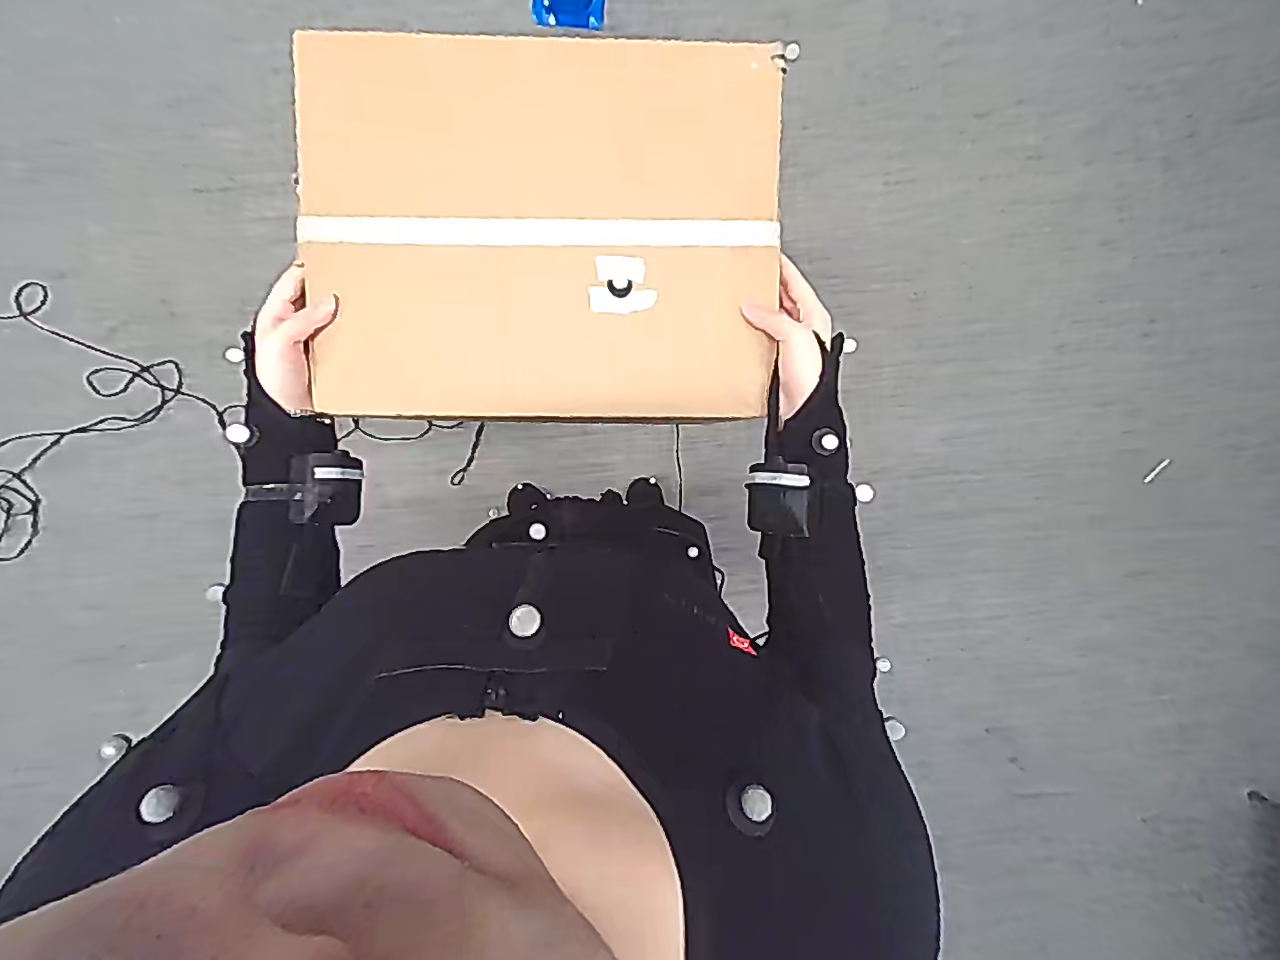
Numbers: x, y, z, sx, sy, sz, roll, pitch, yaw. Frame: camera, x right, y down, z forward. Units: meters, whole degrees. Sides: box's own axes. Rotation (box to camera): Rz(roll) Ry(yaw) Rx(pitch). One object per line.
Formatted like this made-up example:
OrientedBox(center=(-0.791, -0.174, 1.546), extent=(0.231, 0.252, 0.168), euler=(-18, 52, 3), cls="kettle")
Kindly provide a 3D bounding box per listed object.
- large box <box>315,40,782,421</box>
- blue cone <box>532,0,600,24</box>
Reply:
OrientedBox(center=(-0.082, -0.229, 0.620), extent=(0.408, 0.320, 0.320), euler=(0, 96, -3), cls="large box")
OrientedBox(center=(-0.197, -1.378, 1.348), extent=(0.193, 0.380, 0.192), euler=(5, 89, -3), cls="blue cone")
